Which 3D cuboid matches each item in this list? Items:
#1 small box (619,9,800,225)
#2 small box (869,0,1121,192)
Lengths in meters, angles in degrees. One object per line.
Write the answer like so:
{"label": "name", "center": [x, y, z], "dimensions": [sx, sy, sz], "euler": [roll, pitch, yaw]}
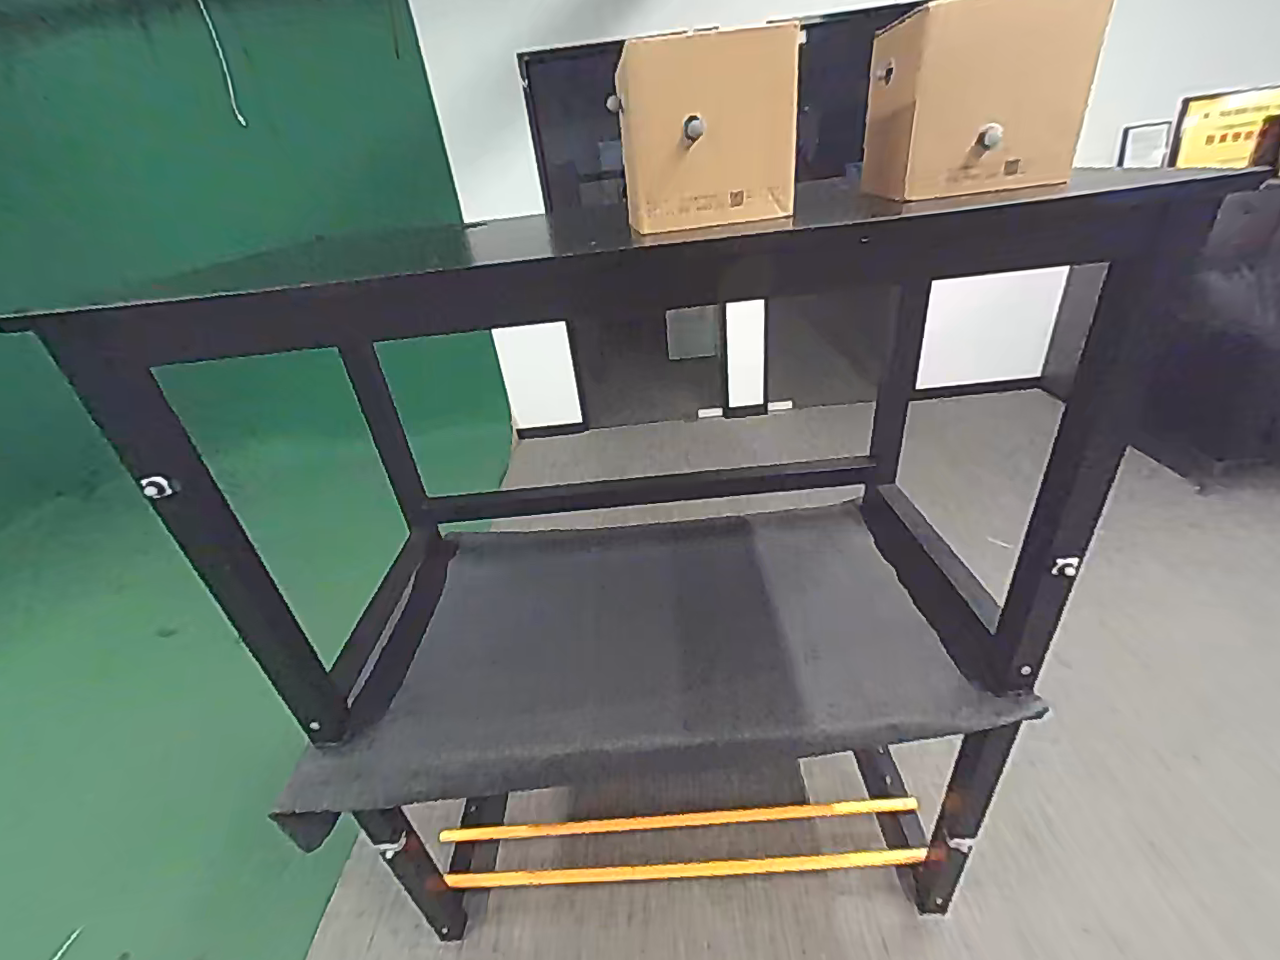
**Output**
{"label": "small box", "center": [0.071, -0.389, 0.606], "dimensions": [0.168, 0.176, 0.179], "euler": [-8, 30, -1]}
{"label": "small box", "center": [0.363, -0.421, 0.594], "dimensions": [0.168, 0.176, 0.179], "euler": [-3, 32, 8]}
